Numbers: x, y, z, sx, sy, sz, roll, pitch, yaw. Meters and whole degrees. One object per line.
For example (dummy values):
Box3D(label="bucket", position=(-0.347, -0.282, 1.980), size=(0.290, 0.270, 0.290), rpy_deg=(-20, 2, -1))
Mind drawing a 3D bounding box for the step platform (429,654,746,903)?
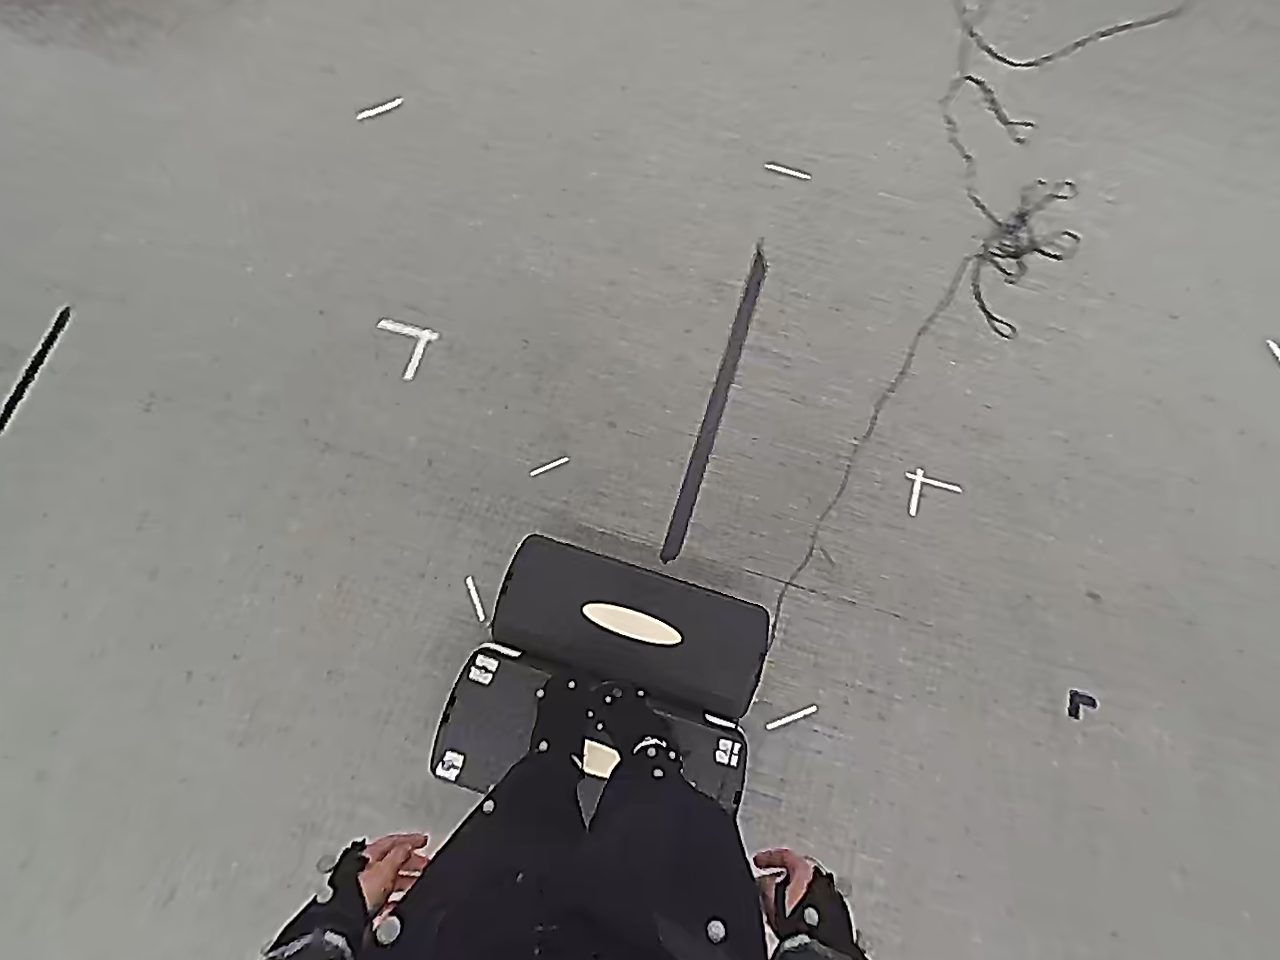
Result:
Box3D(label="step platform", position=(-0.111, 0.651, 1.226), size=(0.684, 0.204, 0.286), rpy_deg=(21, 75, 5))
